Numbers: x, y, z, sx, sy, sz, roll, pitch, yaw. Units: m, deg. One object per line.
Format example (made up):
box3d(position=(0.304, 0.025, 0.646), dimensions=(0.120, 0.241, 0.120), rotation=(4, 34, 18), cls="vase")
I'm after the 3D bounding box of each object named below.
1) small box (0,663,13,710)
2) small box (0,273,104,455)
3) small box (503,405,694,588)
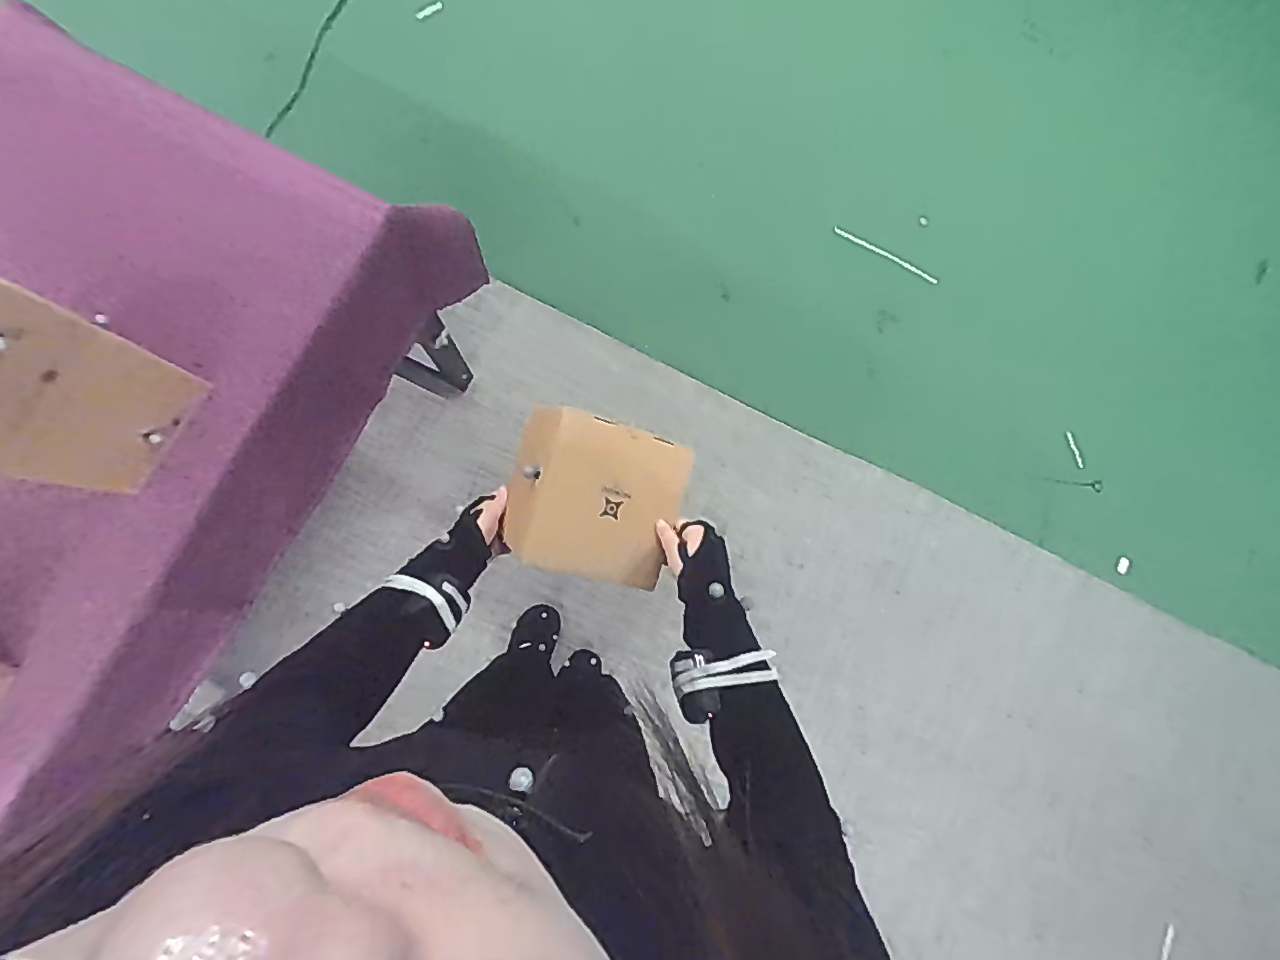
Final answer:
box3d(position=(-0.828, 0.253, 0.548), dimensions=(0.168, 0.176, 0.179), rotation=(25, 79, -2), cls="small box")
box3d(position=(-0.639, -0.128, 0.459), dimensions=(0.179, 0.176, 0.168), rotation=(27, 79, -3), cls="small box")
box3d(position=(-0.062, 0.014, 0.671), dimensions=(0.168, 0.176, 0.179), rotation=(17, 90, -25), cls="small box")
